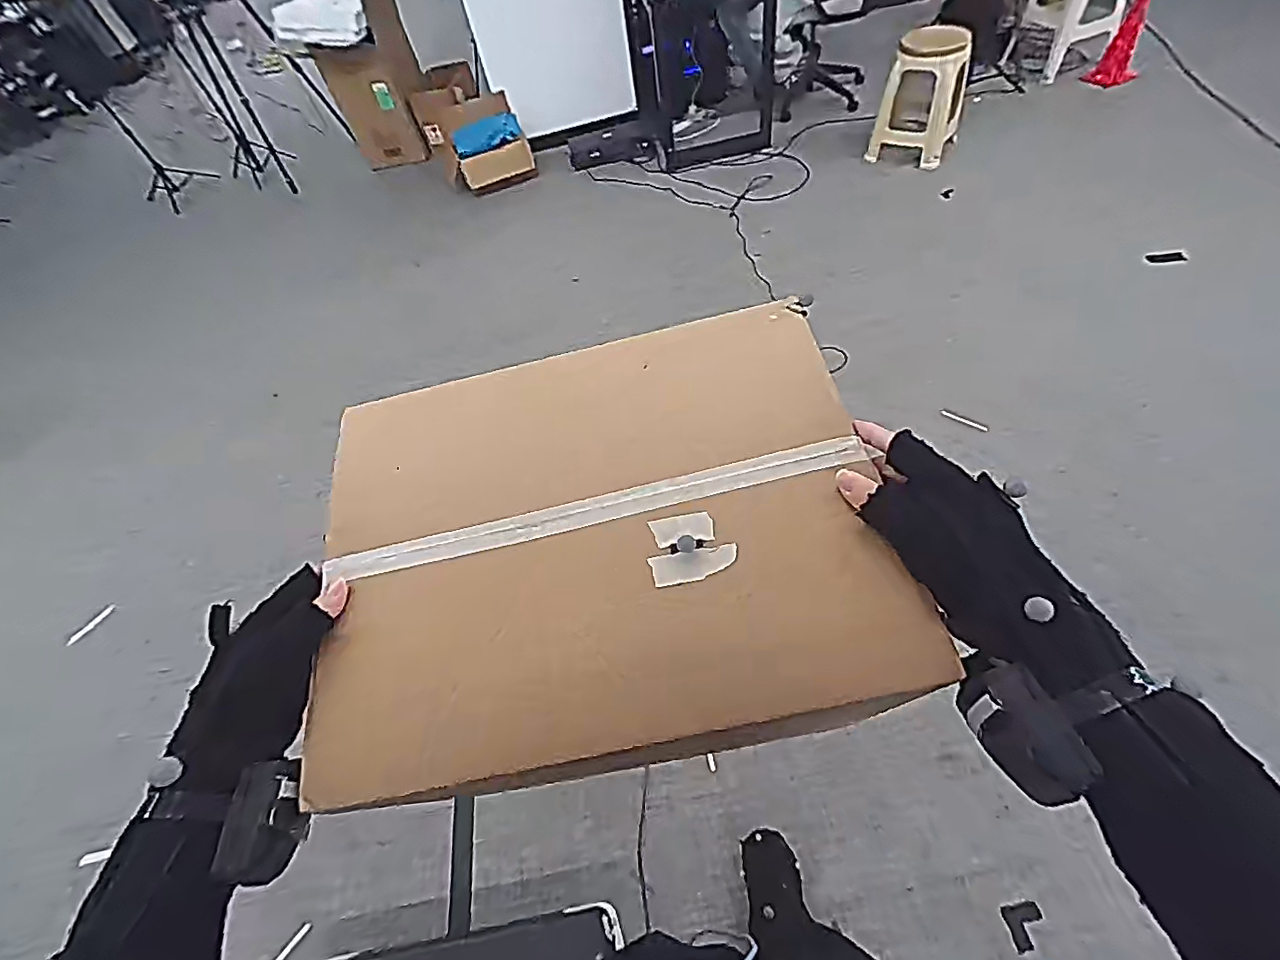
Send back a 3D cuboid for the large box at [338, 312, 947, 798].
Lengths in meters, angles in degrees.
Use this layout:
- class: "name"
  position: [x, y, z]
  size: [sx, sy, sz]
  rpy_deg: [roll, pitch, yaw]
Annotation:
- class: "large box"
  position: [-0.008, 0.097, 0.539]
  size: [0.408, 0.320, 0.320]
  rpy_deg: [-13, 61, 3]
